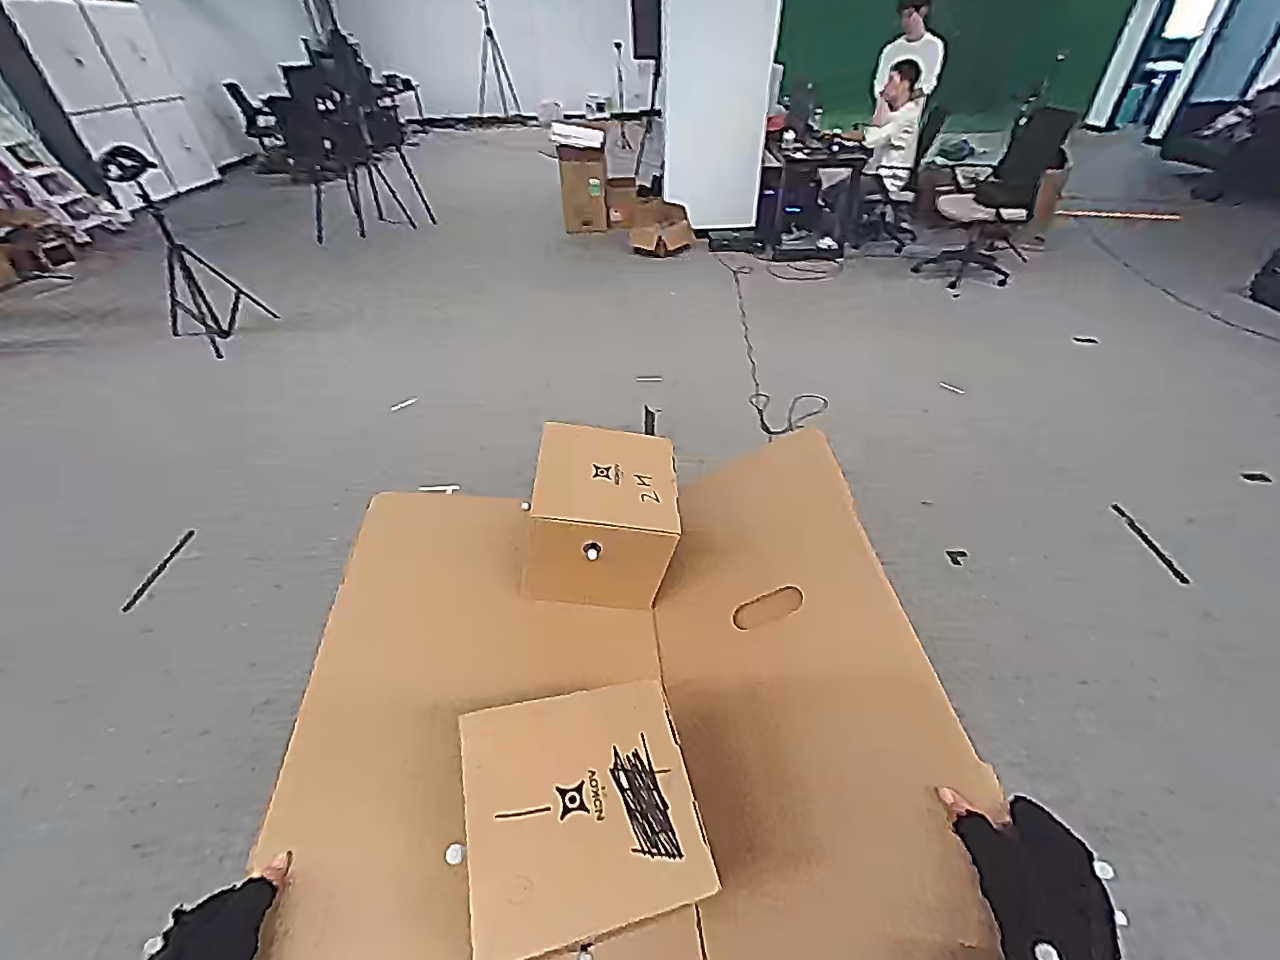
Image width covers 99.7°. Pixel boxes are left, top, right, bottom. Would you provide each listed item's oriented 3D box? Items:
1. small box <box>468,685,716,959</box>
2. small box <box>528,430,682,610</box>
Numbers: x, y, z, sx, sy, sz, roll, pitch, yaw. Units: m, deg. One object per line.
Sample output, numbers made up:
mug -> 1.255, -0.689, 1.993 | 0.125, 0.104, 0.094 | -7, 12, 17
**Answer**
small box -> -0.059, 0.306, 0.481 | 0.179, 0.176, 0.168 | -3, 48, -18
small box -> -0.052, 0.059, 0.728 | 0.179, 0.176, 0.168 | 9, 45, -9
